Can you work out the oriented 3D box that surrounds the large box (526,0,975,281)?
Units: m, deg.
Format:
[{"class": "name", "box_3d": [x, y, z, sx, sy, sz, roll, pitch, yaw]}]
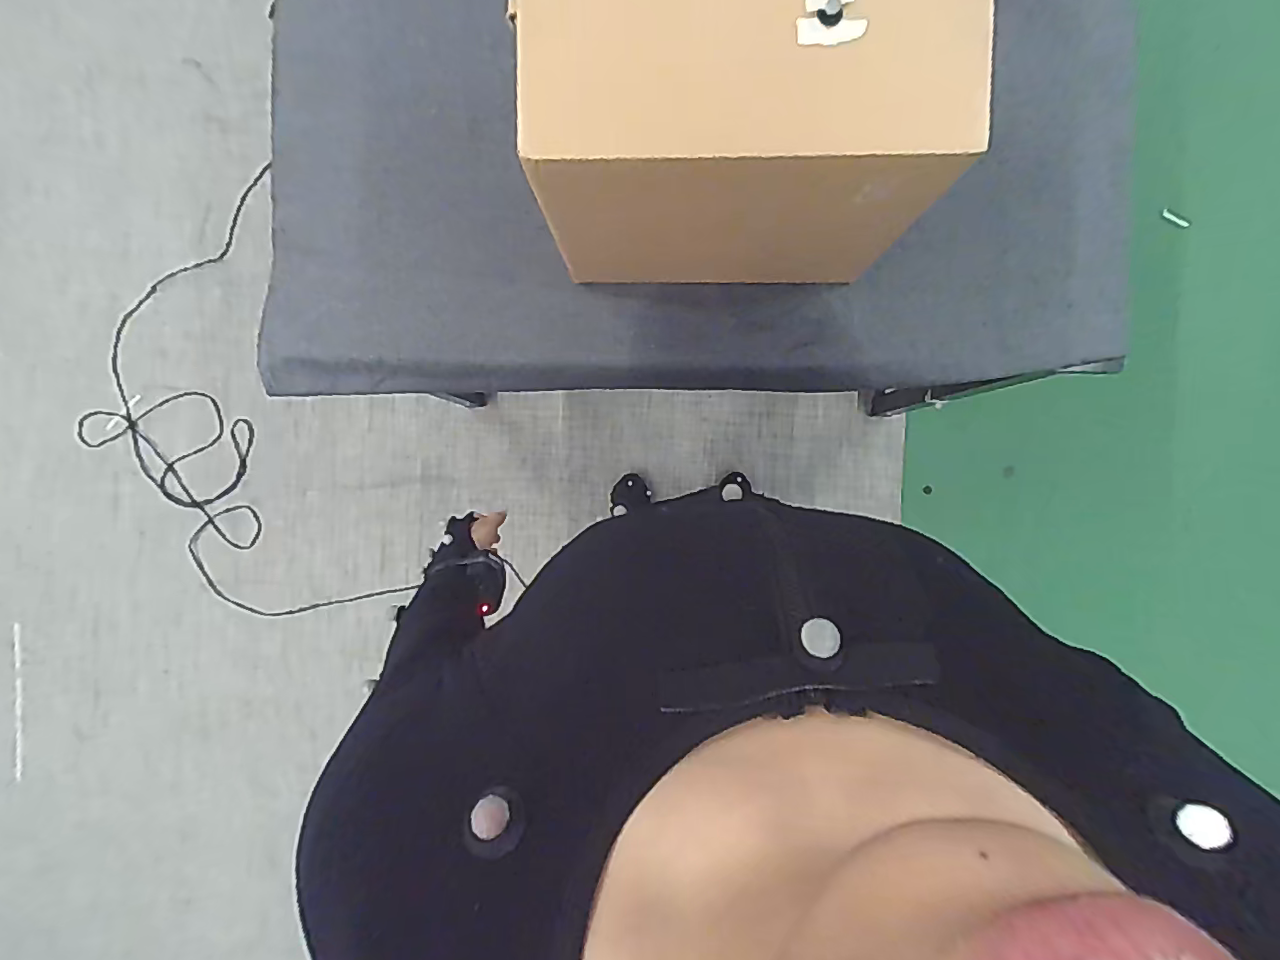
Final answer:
[{"class": "large box", "box_3d": [0.097, -0.441, 0.628, 0.408, 0.320, 0.320, 0, 91, 2]}]
